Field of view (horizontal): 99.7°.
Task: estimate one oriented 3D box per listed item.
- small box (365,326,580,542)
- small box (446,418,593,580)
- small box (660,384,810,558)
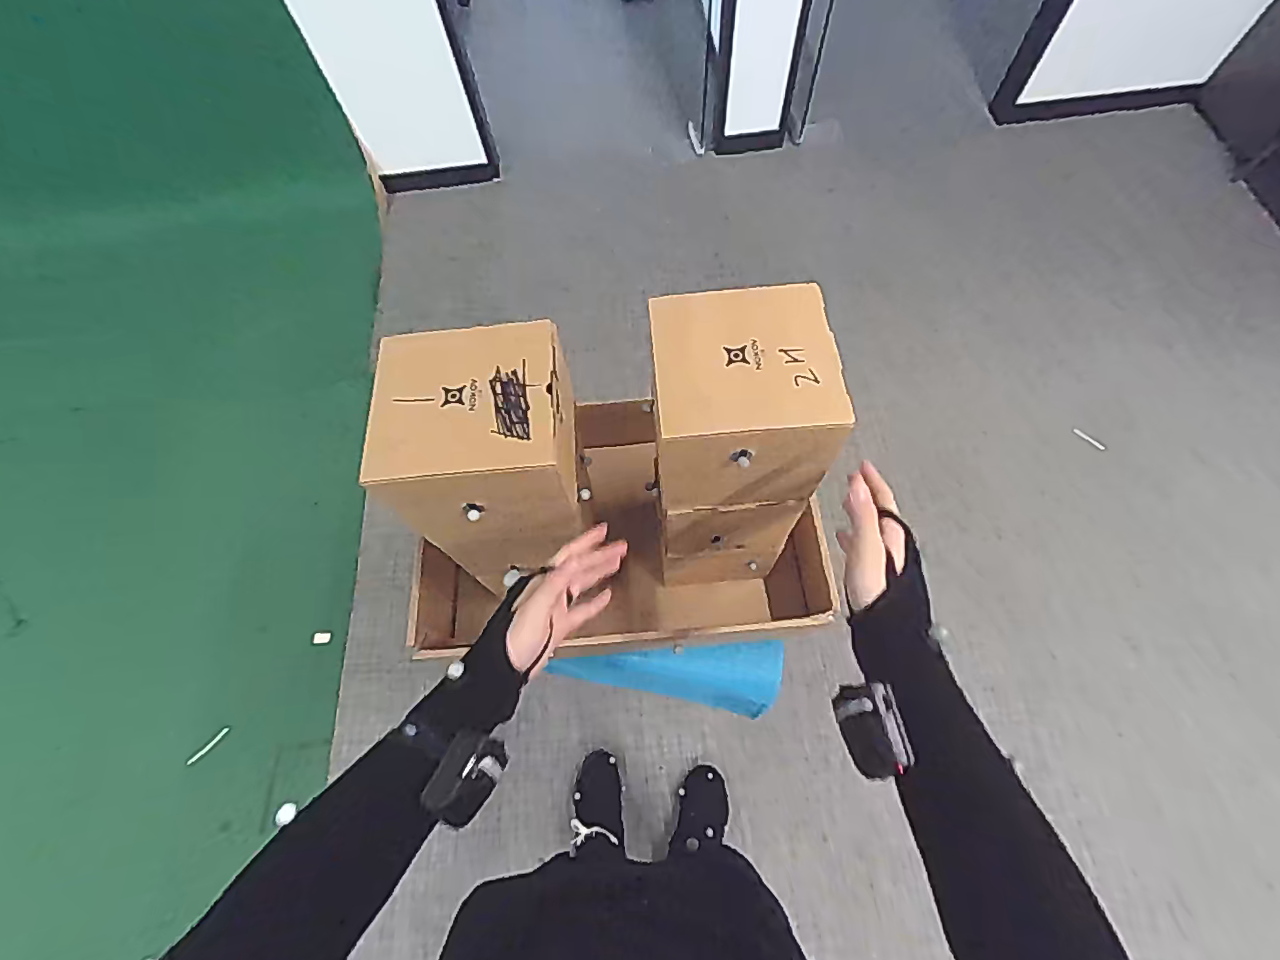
[{"bbox_3d":[-0.159,-0.040,0.583,0.179,0.176,0.168,-5,64,1],"label":"small box"},{"bbox_3d":[-0.155,0.025,0.733,0.168,0.176,0.179,-4,65,1],"label":"small box"},{"bbox_3d":[0.113,-0.007,0.731,0.168,0.176,0.179,-4,64,1],"label":"small box"}]
